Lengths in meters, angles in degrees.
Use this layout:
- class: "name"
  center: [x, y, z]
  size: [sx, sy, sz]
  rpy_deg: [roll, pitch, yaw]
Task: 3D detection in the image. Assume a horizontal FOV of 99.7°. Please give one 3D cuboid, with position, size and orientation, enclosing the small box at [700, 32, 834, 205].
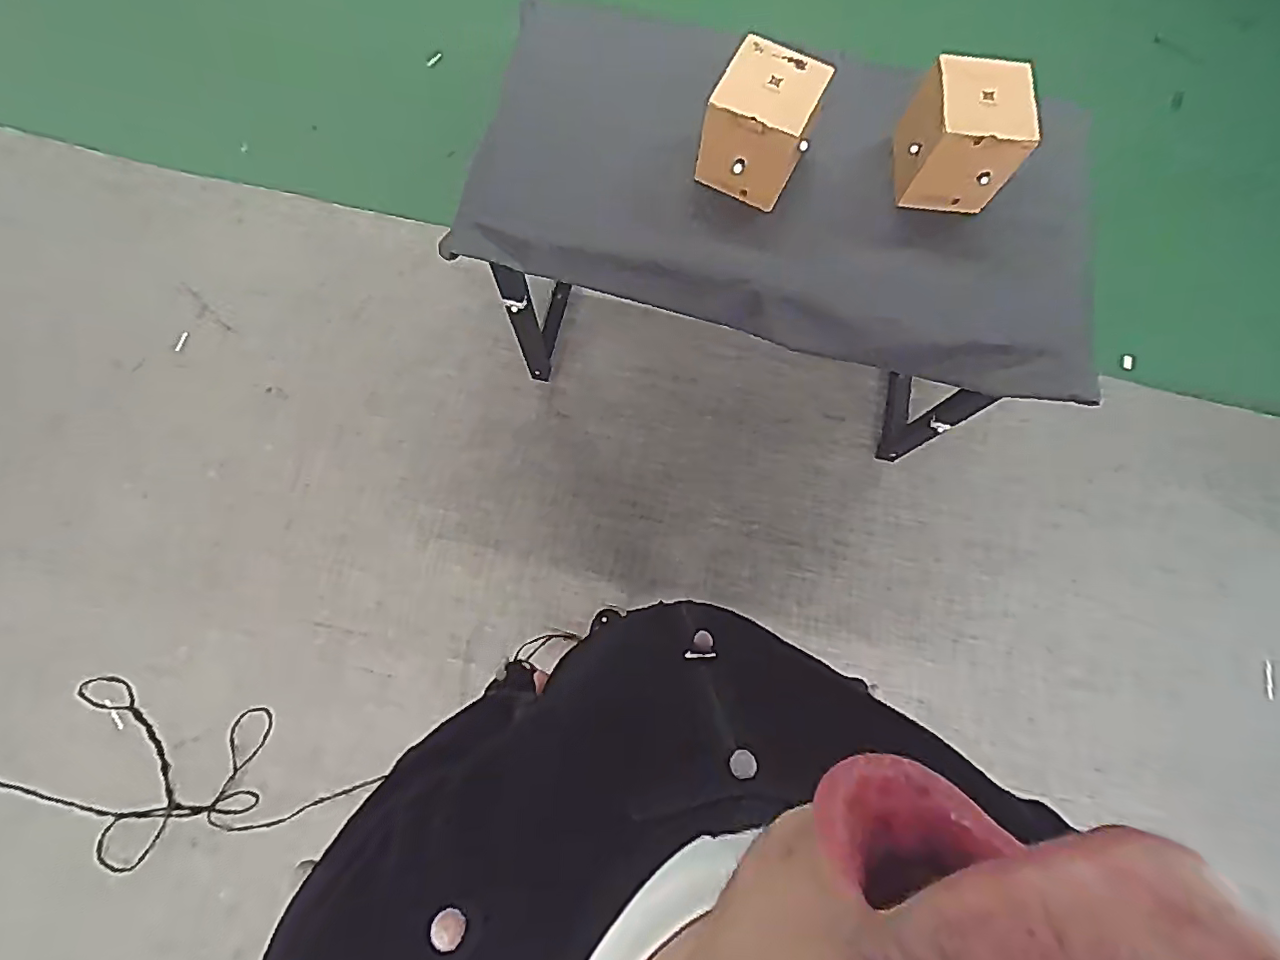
- class: "small box"
  center: [0.220, -0.648, 0.989]
  size: [0.168, 0.176, 0.179]
  rpy_deg: [27, 76, 4]

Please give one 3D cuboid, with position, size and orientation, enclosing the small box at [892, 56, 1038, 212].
- class: "small box"
  center: [0.591, -0.632, 1.005]
  size: [0.168, 0.176, 0.179]
  rpy_deg: [5, 74, -3]
